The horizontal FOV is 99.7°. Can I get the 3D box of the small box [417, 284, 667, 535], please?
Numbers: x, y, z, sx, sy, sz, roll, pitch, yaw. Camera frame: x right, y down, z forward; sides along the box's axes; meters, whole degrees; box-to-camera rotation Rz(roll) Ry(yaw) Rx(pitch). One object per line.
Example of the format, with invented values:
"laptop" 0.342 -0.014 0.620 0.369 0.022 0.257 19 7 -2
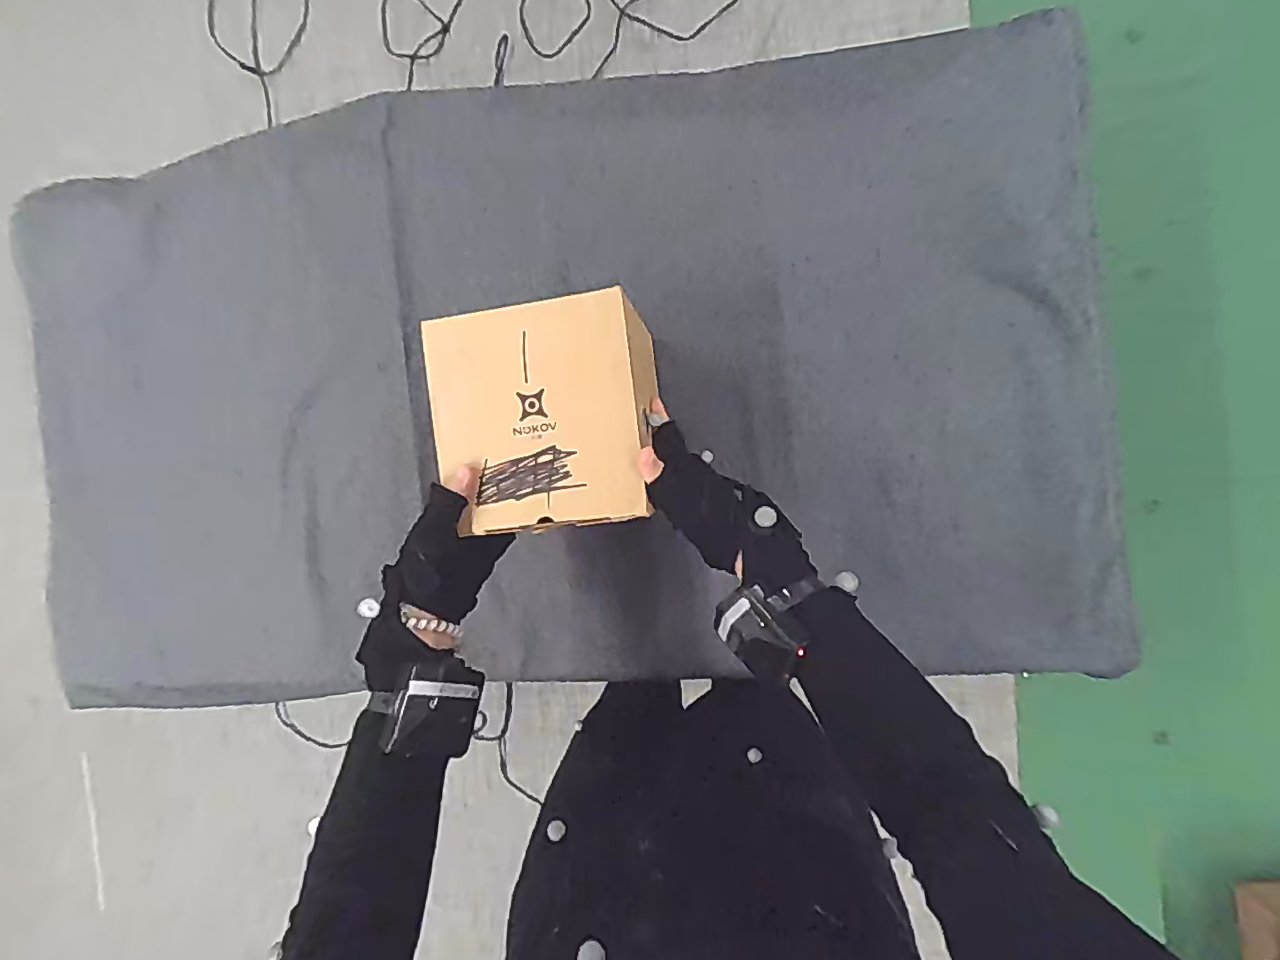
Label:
"small box" -0.073 -0.056 0.494 0.168 0.176 0.179 -8 92 9
